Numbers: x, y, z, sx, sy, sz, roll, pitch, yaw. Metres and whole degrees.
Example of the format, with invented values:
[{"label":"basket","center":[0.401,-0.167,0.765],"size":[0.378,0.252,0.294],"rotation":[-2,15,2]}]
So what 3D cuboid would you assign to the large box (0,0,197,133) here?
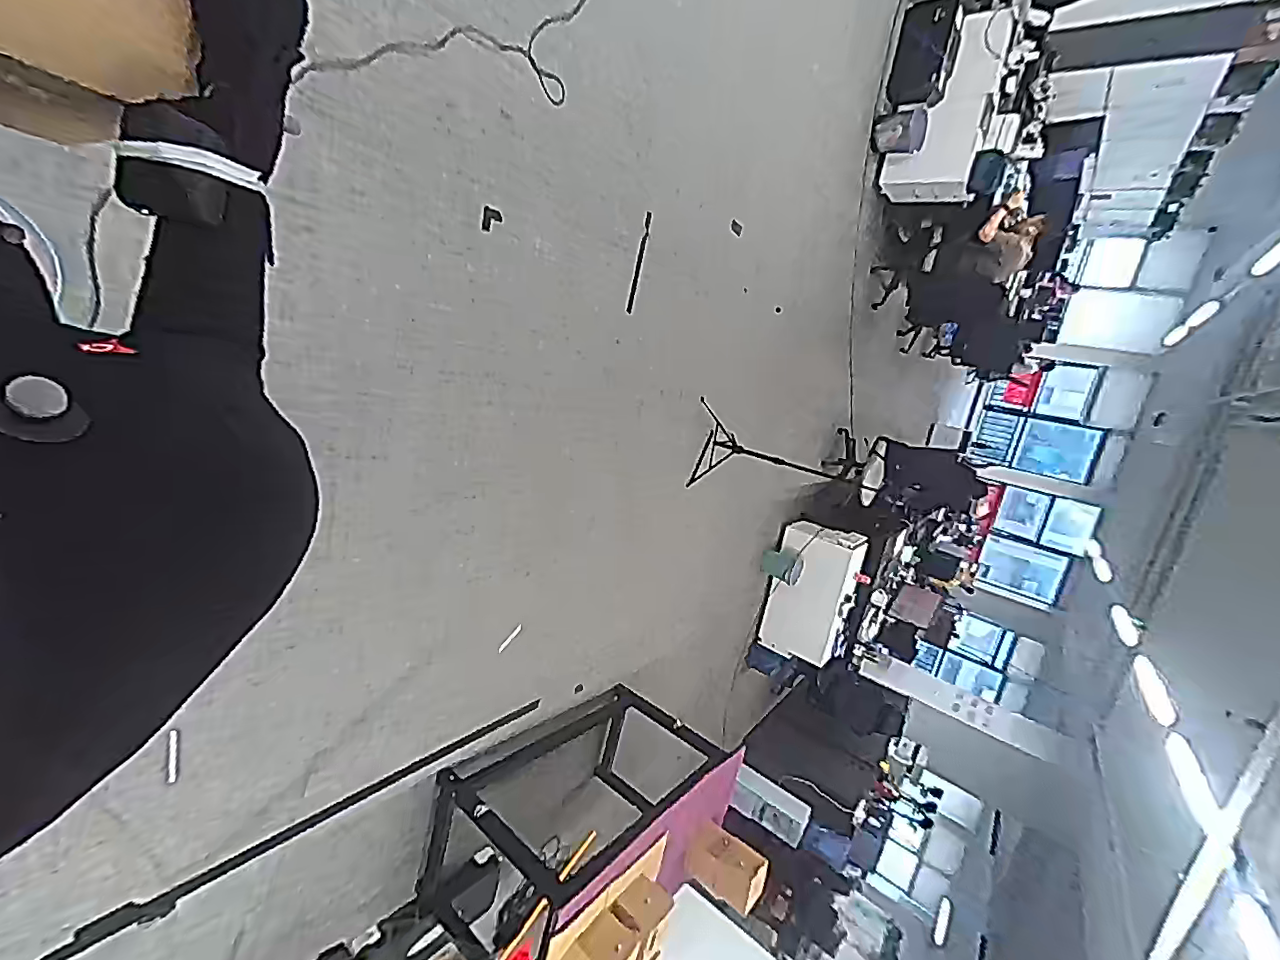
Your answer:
[{"label":"large box","center":[-0.516,-0.428,0.261],"size":[0.408,0.320,0.320],"rotation":[-6,112,-58]}]
